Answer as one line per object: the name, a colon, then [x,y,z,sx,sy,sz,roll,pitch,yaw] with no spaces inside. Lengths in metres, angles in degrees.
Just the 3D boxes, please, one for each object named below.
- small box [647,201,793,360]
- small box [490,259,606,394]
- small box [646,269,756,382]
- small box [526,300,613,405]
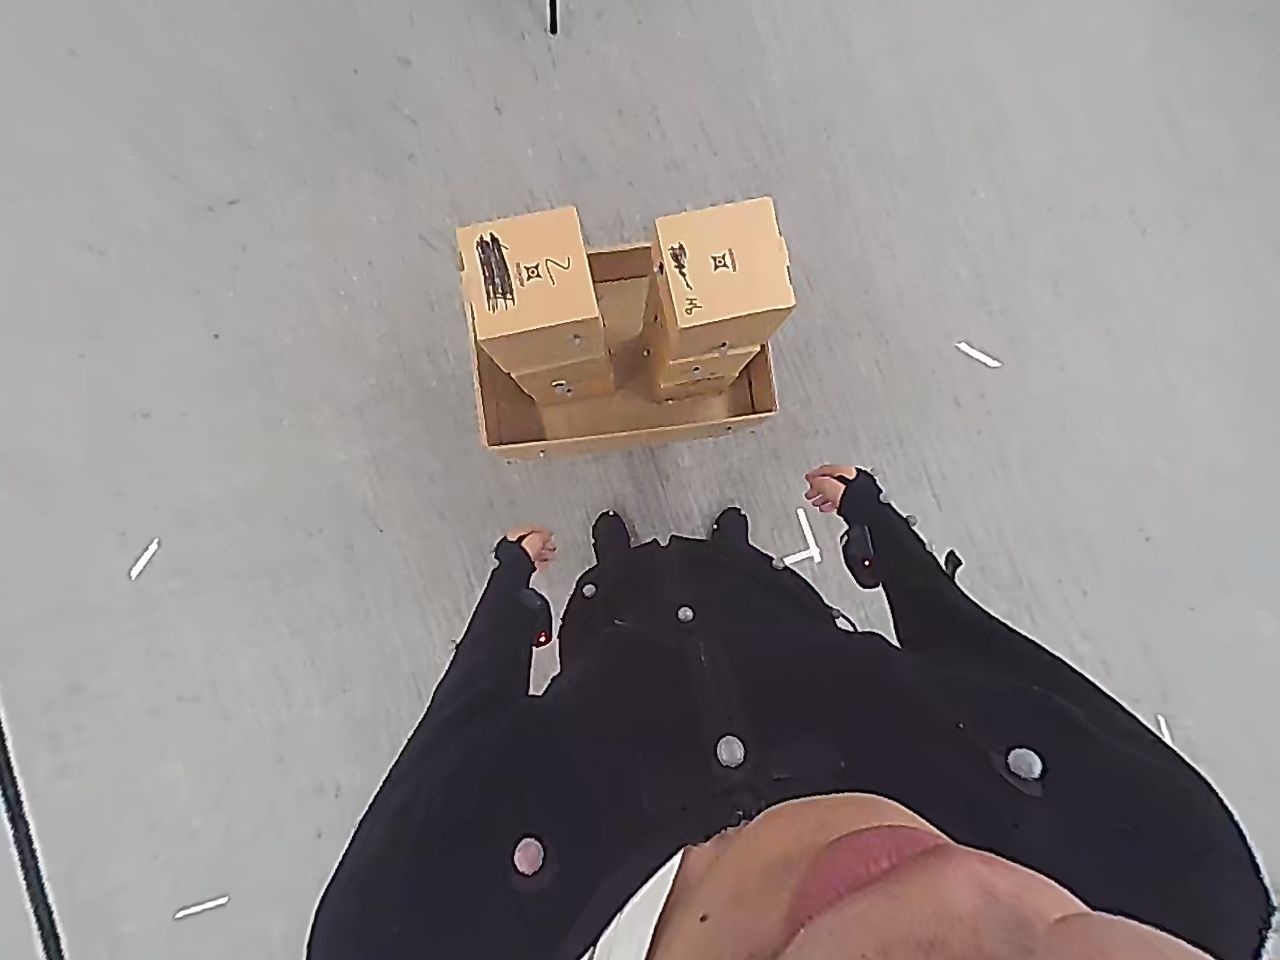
small box: [0.115,-0.302,0.848,0.179,0.176,0.168,-11,87,-4]
small box: [-0.161,-0.273,0.998,0.168,0.176,0.179,-13,88,-1]
small box: [0.106,-0.290,1.011,0.168,0.176,0.179,-10,87,-3]
small box: [-0.158,-0.265,1.162,0.179,0.176,0.168,-11,88,-3]
